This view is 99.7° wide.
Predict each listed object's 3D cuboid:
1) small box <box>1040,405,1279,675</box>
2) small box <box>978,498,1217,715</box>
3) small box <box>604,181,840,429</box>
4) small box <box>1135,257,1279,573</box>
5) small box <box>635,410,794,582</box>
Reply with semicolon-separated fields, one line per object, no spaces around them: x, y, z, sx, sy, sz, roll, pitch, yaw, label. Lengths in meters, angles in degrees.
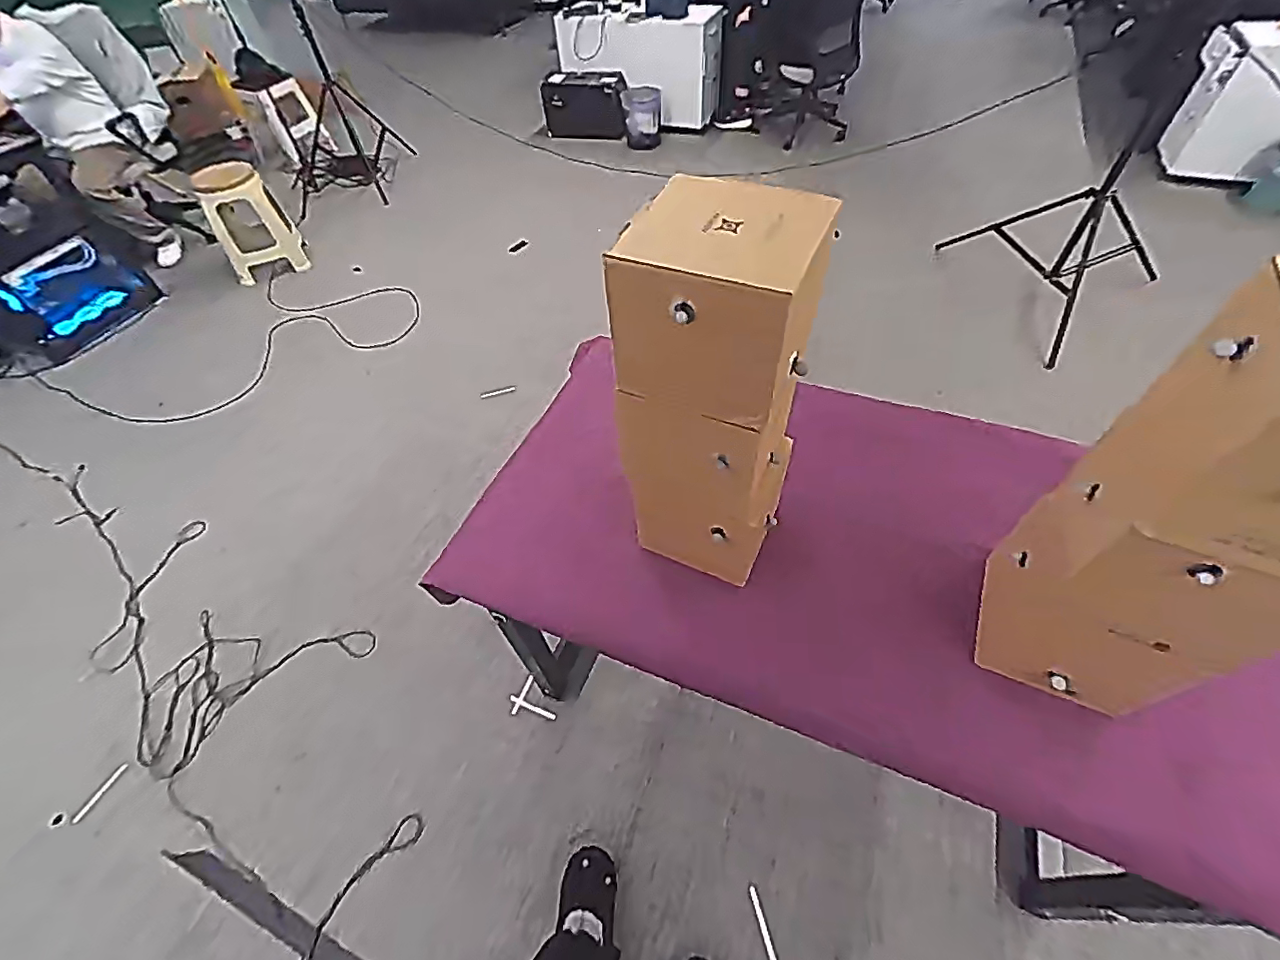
0.537;0.060;0.543;0.168;0.176;0.179;20;55;20;small box
0.549;0.158;0.673;0.168;0.176;0.179;19;56;19;small box
0.082;-0.178;0.558;0.179;0.176;0.168;19;57;17;small box
0.524;-0.037;0.411;0.168;0.176;0.179;20;55;20;small box
0.110;0.029;0.810;0.179;0.176;0.168;19;55;19;small box
